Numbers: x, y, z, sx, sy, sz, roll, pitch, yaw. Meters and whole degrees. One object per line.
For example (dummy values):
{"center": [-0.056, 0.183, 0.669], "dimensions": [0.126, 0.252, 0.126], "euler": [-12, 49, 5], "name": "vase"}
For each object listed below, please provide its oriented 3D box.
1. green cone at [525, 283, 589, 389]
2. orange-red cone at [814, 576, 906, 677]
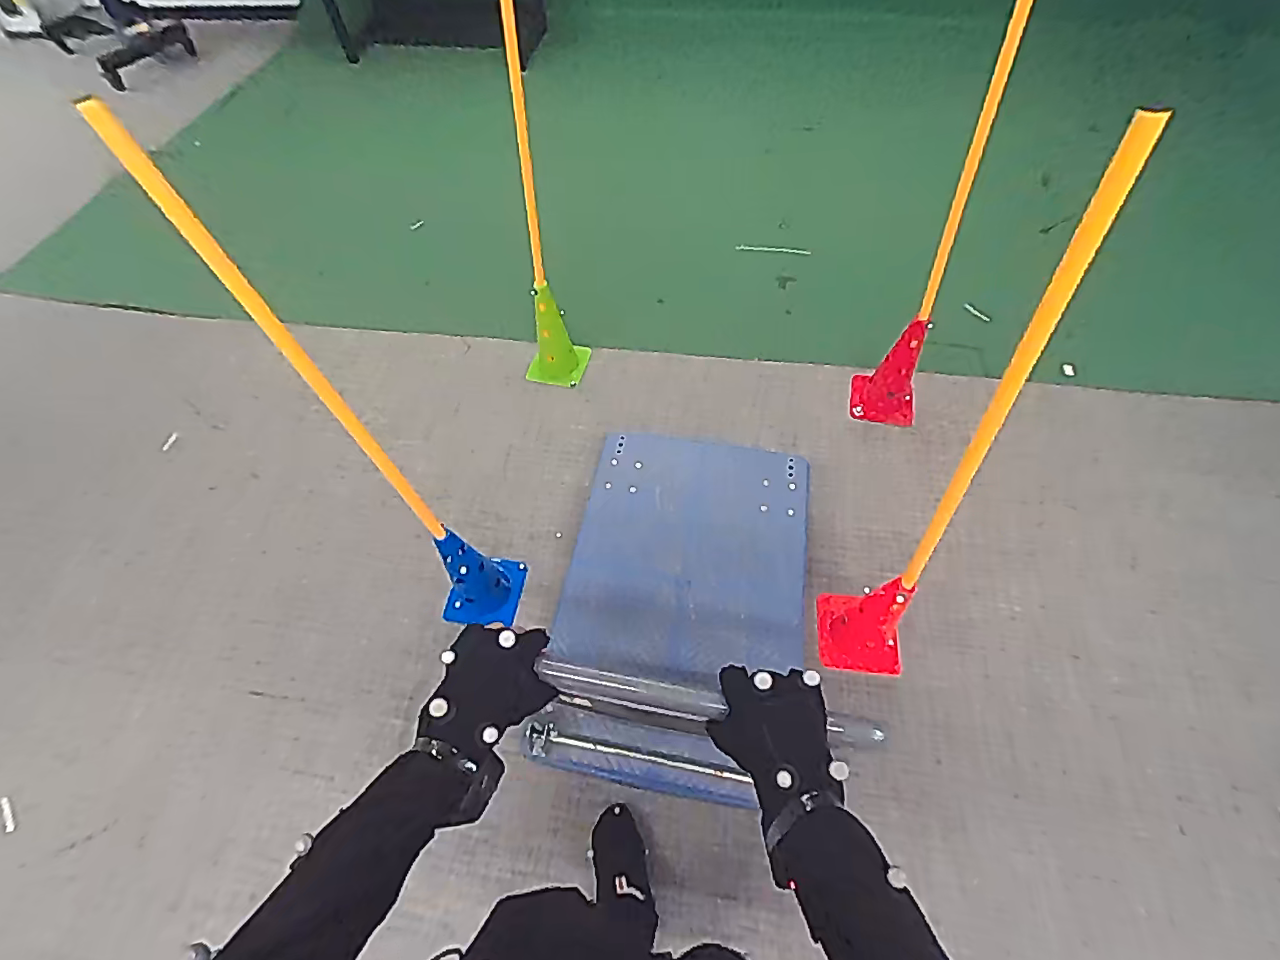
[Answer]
{"center": [-0.311, -0.511, 1.843], "dimensions": [0.202, 0.368, 0.200], "euler": [10, 58, 10], "name": "green cone"}
{"center": [0.549, 0.317, 1.281], "dimensions": [0.199, 0.360, 0.198], "euler": [5, 57, 8], "name": "orange-red cone"}
